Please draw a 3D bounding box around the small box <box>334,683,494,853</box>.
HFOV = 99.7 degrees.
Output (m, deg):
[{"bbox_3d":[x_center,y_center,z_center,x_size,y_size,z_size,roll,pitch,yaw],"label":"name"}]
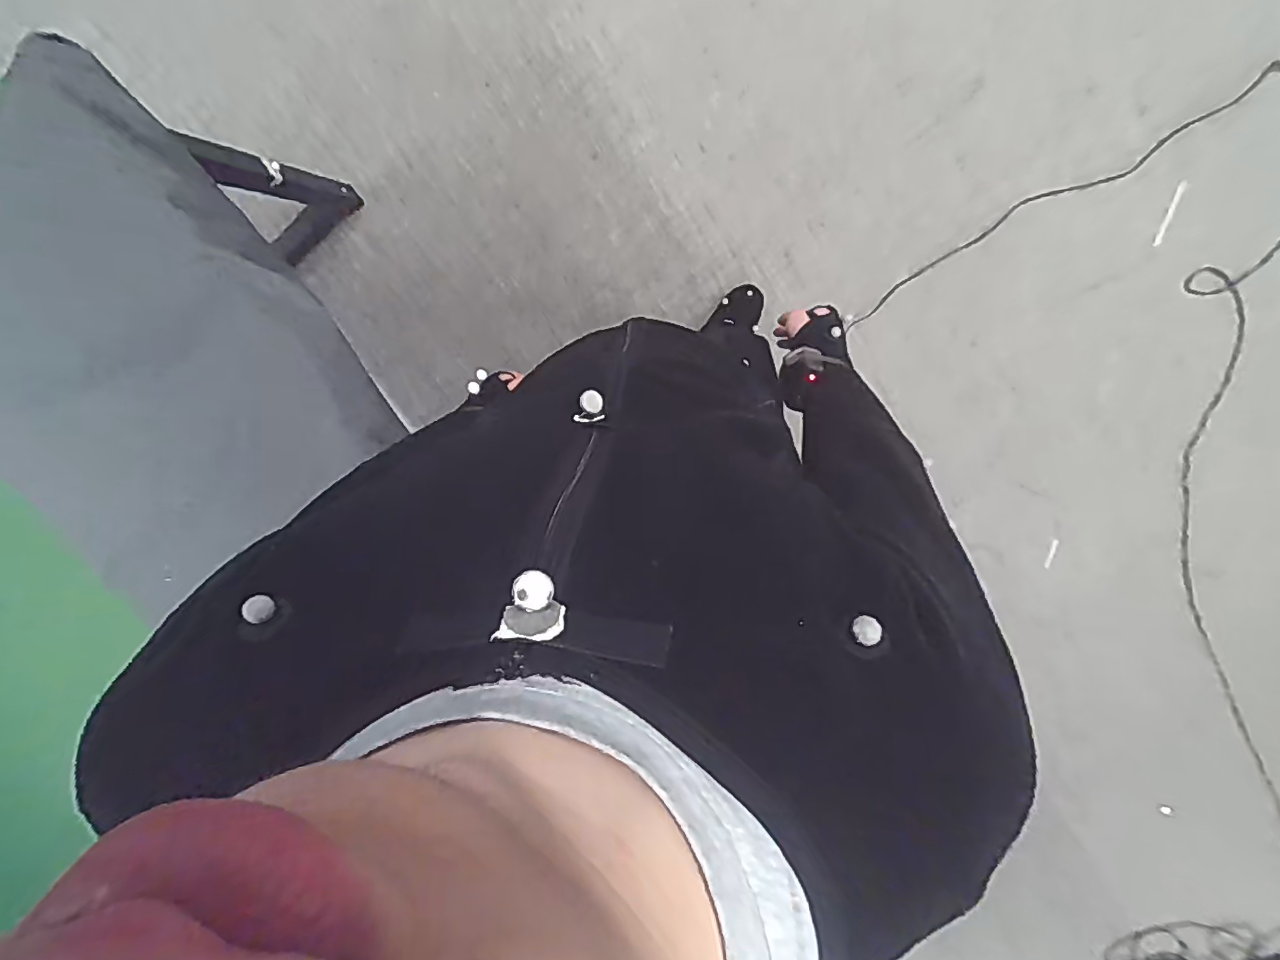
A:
[{"bbox_3d":[-0.381,0.497,0.954,0.179,0.176,0.168,-36,102,14],"label":"small box"}]
